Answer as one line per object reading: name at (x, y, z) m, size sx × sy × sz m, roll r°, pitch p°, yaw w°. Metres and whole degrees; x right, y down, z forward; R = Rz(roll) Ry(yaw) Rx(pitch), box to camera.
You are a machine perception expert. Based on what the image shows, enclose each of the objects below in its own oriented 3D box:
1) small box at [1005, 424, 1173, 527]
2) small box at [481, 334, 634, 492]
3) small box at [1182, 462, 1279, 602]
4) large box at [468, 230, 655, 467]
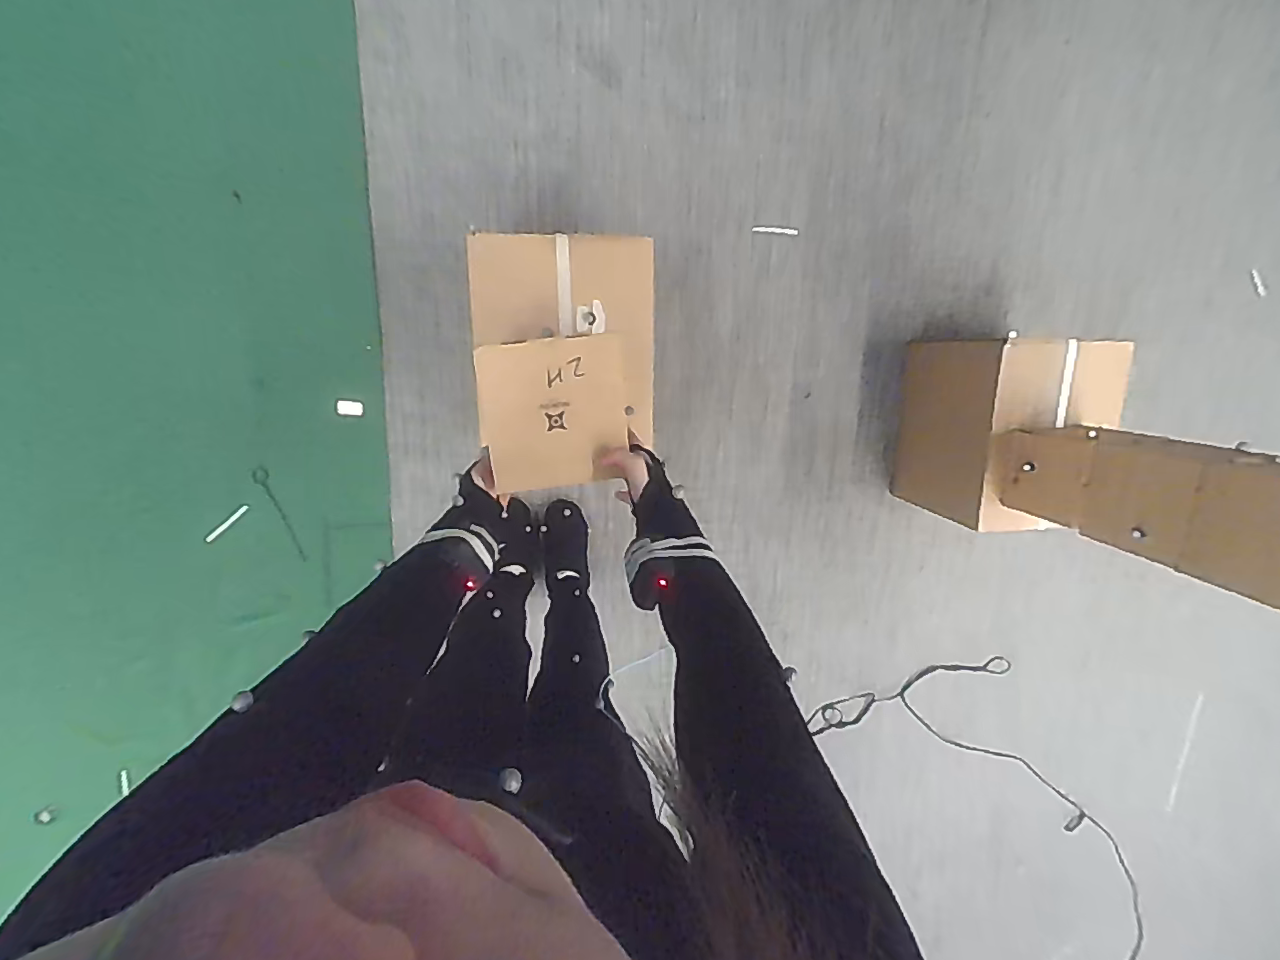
small box at (0.873, -0.017, 1.067) m, size 0.179 × 0.176 × 0.168 m, roll -3°, pitch 104°, yaw -7°
small box at (-0.103, -0.096, 0.711) m, size 0.168 × 0.176 × 0.179 m, roll -7°, pitch 104°, yaw -8°
small box at (0.928, 0.075, 0.755) m, size 0.168 × 0.176 × 0.179 m, roll 0°, pitch 106°, yaw -8°
large box at (-0.148, -0.254, 1.091) m, size 0.320 × 0.320 × 0.408 m, roll -2°, pitch 103°, yaw -9°
